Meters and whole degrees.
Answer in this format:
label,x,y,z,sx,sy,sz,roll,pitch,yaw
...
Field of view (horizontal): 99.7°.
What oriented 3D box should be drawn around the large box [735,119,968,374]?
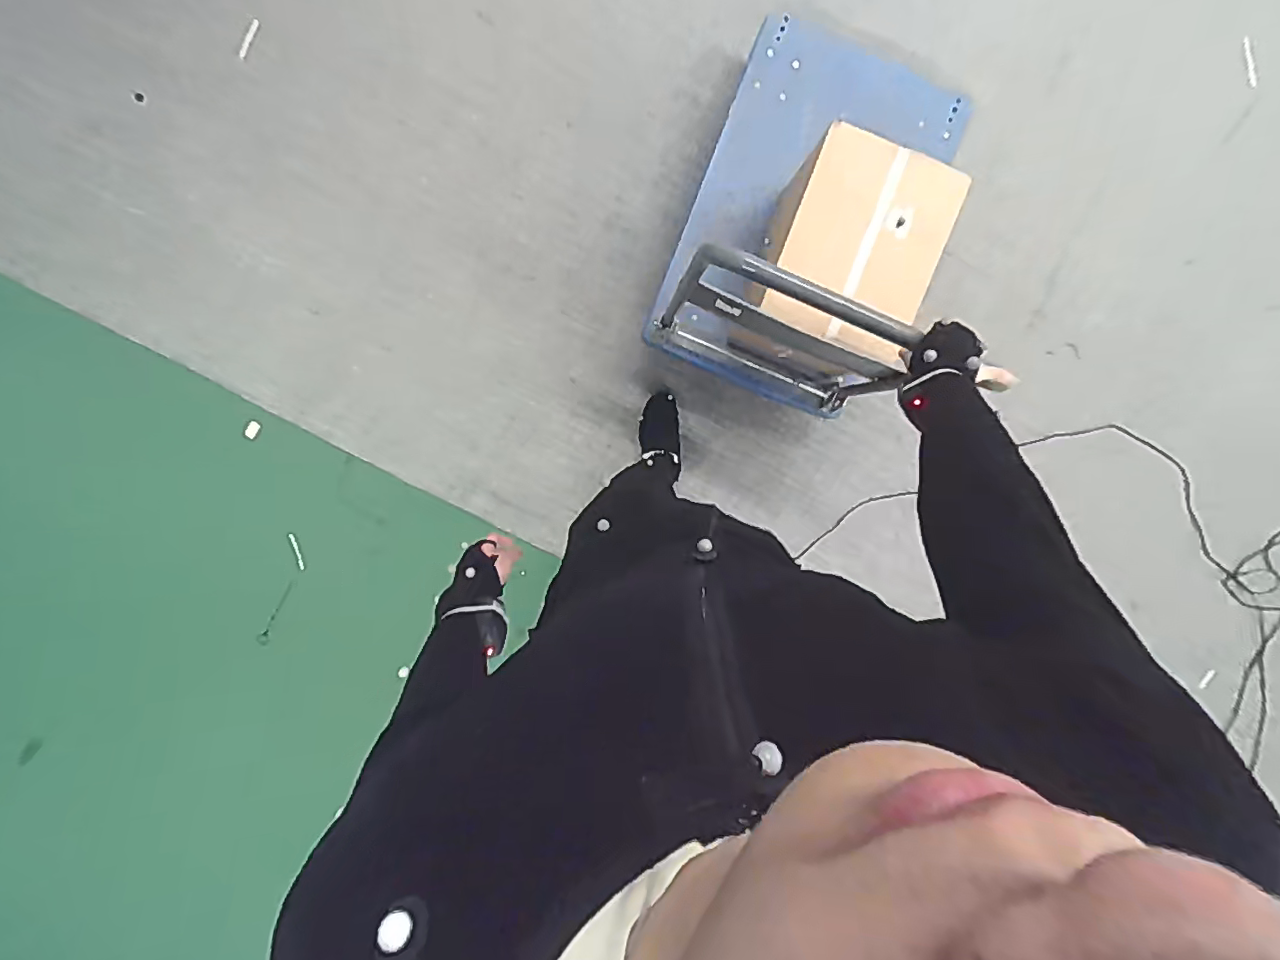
label,x,y,z,sx,sy,sz,roll,pitch,yaw
large box,0.452,-0.496,1.247,0.320,0.320,0.408,20,94,-5
